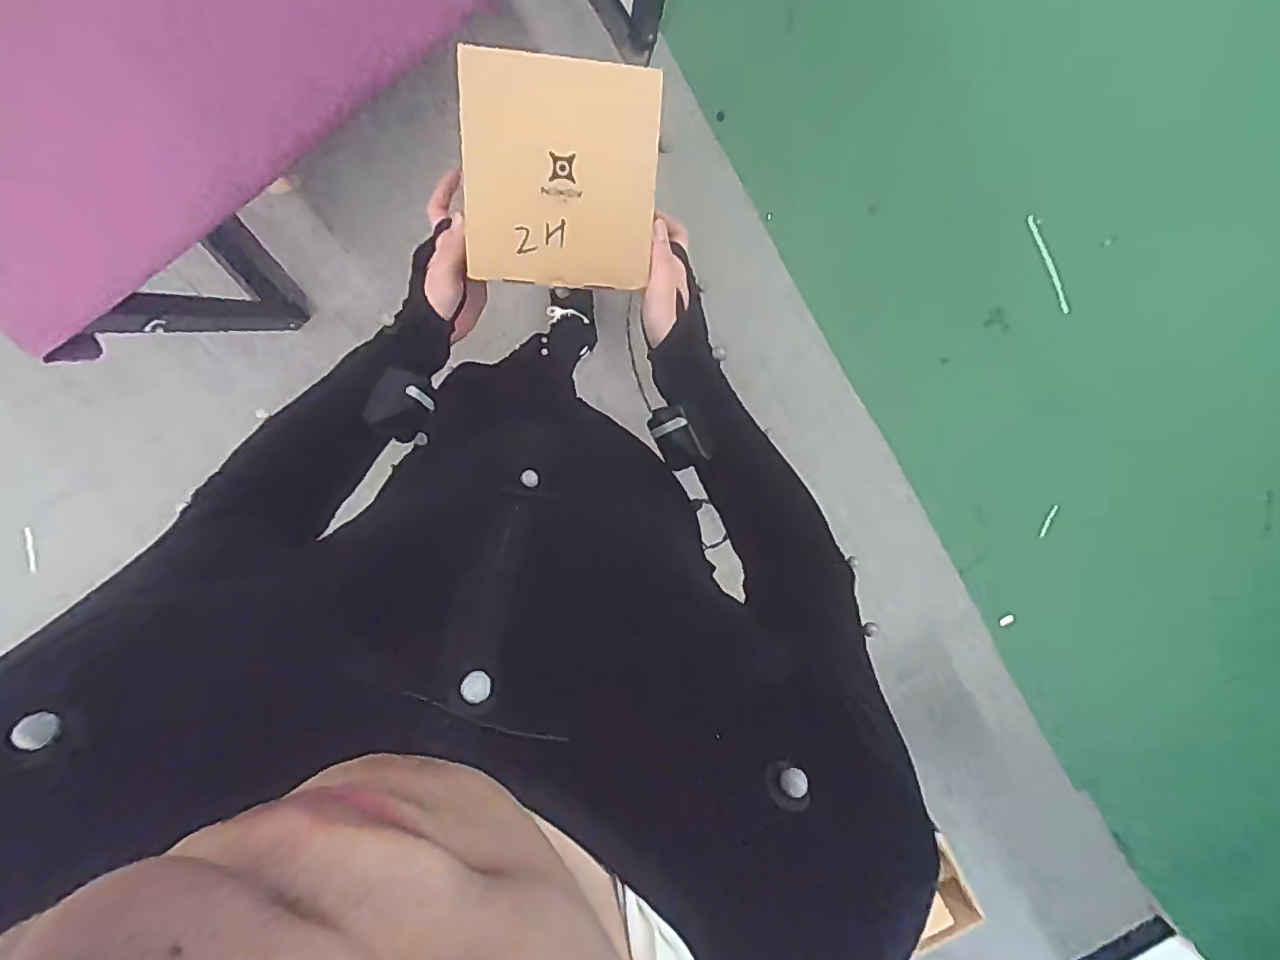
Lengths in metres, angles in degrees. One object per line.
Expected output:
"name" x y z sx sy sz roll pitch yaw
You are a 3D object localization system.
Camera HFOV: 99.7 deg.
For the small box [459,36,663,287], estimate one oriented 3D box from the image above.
"small box" -0.076 -0.291 0.534 0.168 0.176 0.179 2 112 -6
